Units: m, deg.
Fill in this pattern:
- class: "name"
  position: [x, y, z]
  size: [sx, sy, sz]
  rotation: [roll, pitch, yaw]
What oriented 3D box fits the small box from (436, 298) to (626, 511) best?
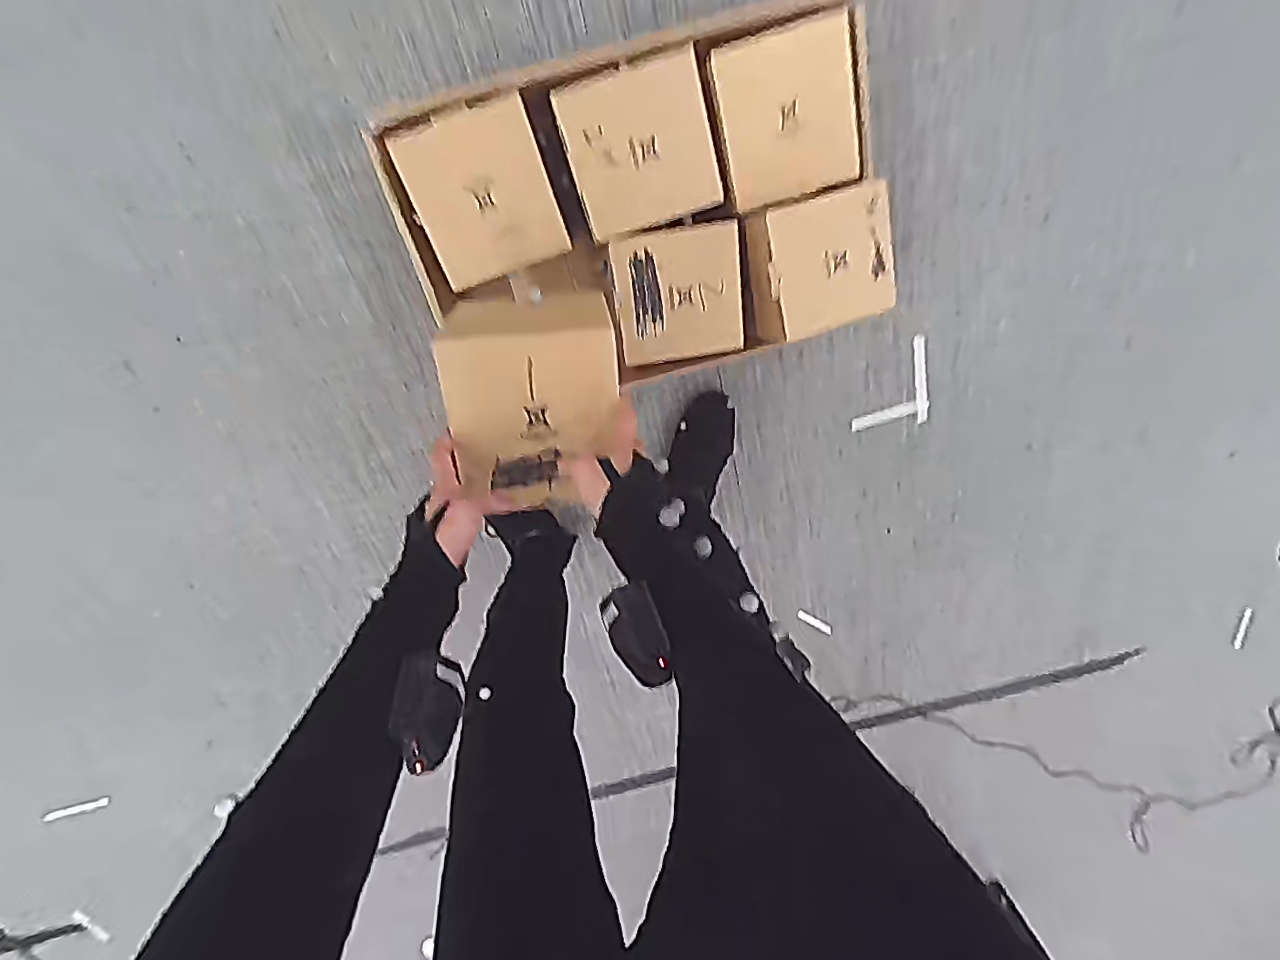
- class: "small box"
  position: [-0.105, -0.088, 0.586]
  size: [0.168, 0.176, 0.179]
  rotation: [-5, 120, -6]
